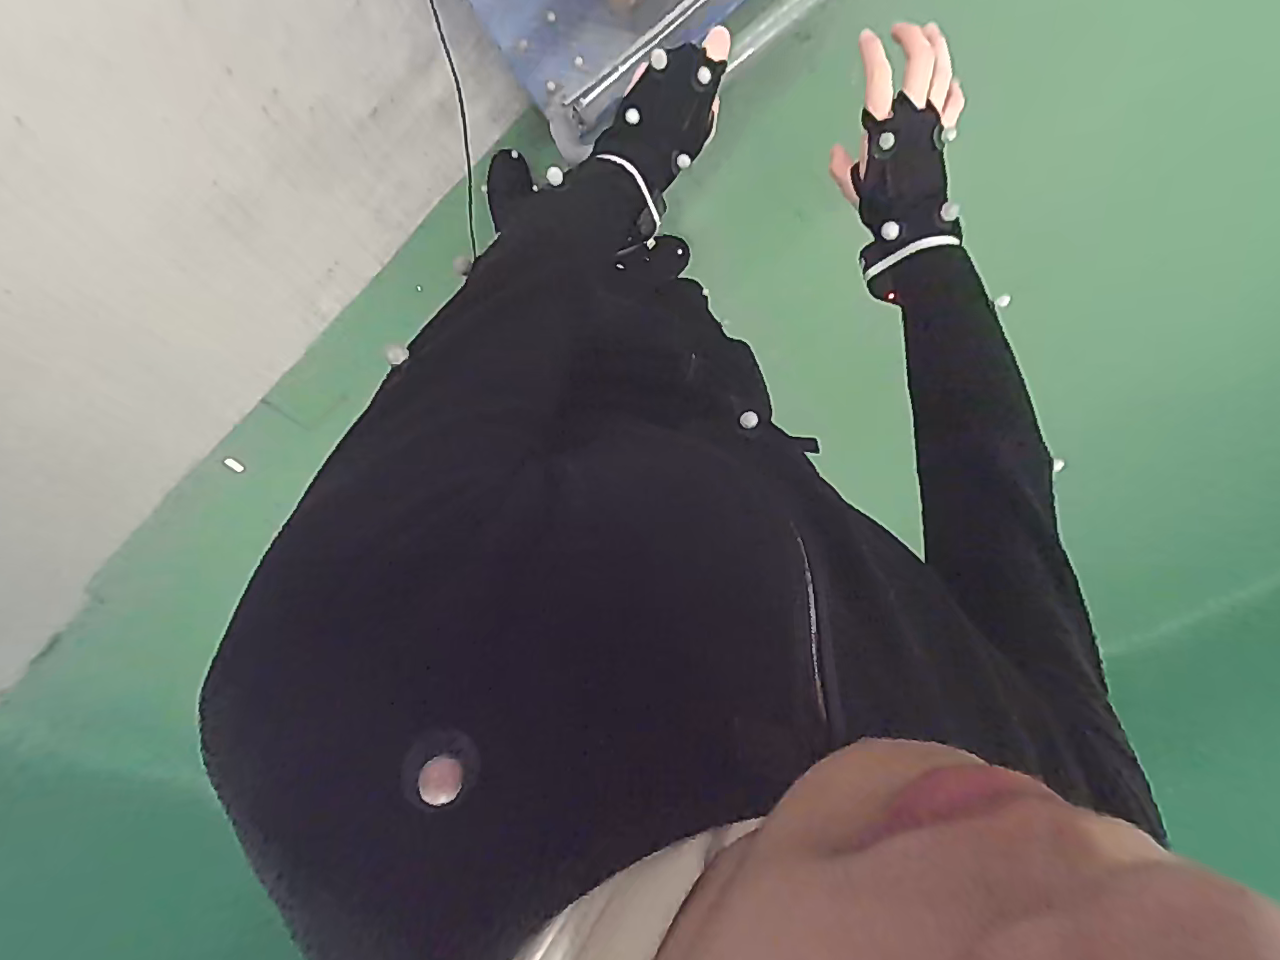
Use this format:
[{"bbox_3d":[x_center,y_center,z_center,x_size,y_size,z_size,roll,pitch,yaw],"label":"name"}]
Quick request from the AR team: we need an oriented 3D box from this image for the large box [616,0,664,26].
[{"bbox_3d":[-0.001,-0.974,0.759,0.320,0.320,0.408,-32,120,16],"label":"large box"}]
